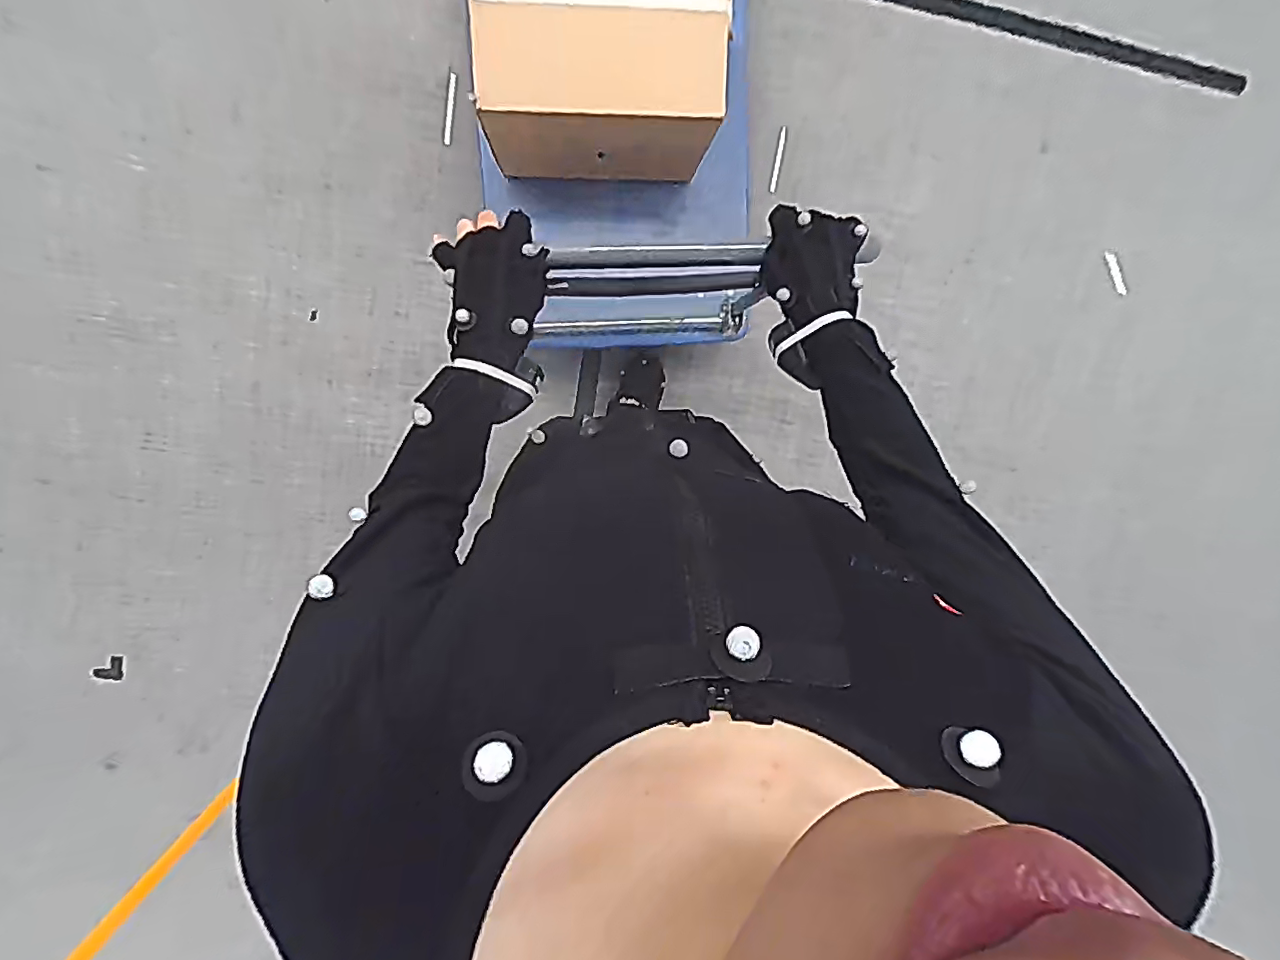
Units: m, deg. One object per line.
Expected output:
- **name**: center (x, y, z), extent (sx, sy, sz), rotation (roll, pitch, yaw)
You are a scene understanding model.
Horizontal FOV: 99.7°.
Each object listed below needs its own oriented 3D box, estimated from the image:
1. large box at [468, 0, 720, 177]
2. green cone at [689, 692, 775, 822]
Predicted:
- **large box**: center (-0.080, -0.775, 0.999), extent (0.408, 0.320, 0.320), rotation (-2, 101, -5)
- **green cone**: center (0.280, 0.776, 1.476), extent (0.202, 0.368, 0.200), rotation (12, 99, -9)
